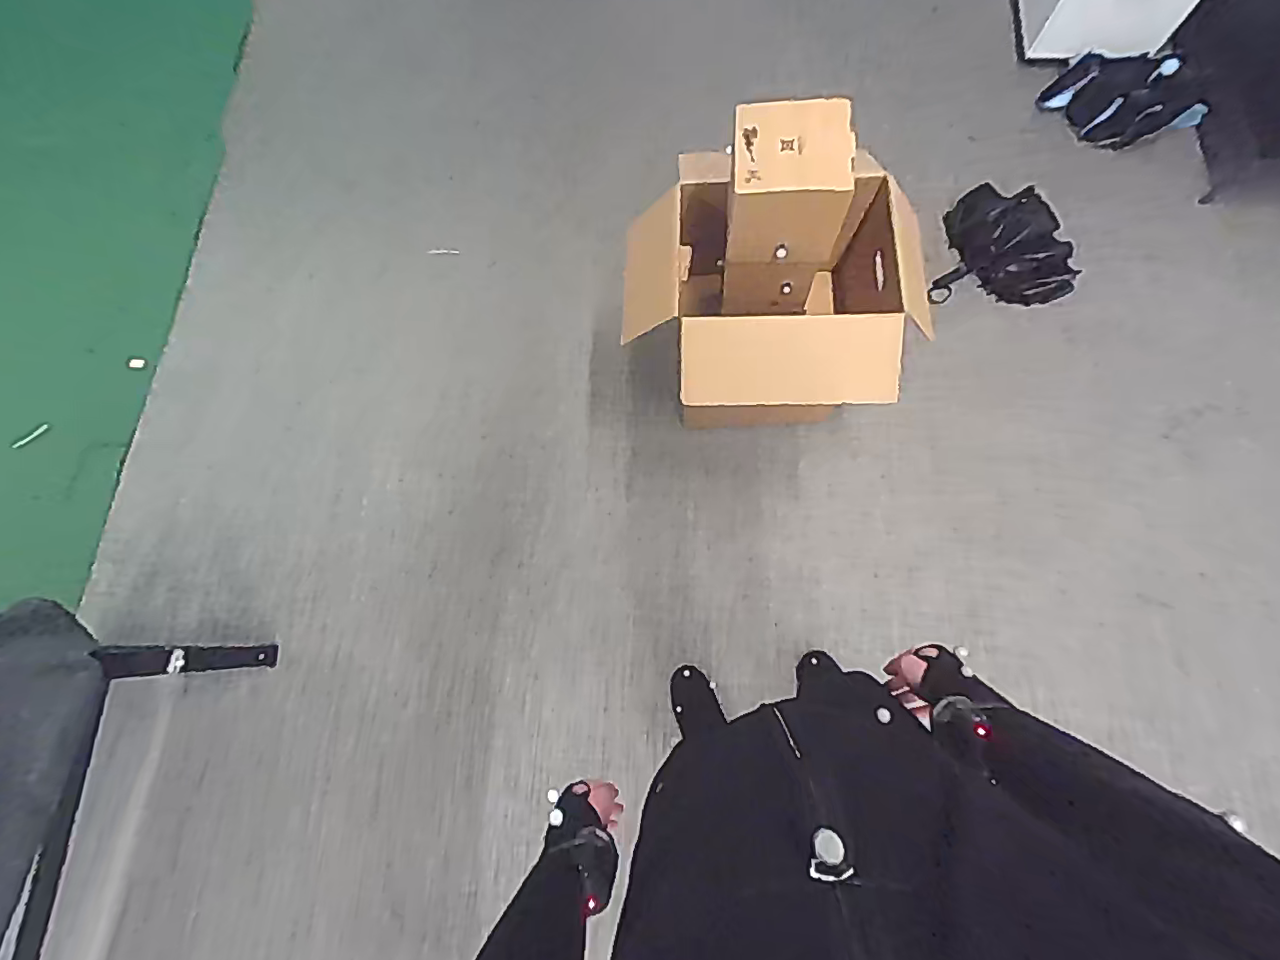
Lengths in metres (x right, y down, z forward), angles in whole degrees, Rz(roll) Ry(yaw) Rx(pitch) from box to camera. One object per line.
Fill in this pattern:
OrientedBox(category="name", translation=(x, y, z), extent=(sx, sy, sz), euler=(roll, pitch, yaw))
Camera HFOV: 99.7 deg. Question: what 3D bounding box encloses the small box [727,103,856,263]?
OrientedBox(category="small box", translation=(0.240, -0.479, 0.891), extent=(0.179, 0.176, 0.168), euler=(2, 76, 5))
